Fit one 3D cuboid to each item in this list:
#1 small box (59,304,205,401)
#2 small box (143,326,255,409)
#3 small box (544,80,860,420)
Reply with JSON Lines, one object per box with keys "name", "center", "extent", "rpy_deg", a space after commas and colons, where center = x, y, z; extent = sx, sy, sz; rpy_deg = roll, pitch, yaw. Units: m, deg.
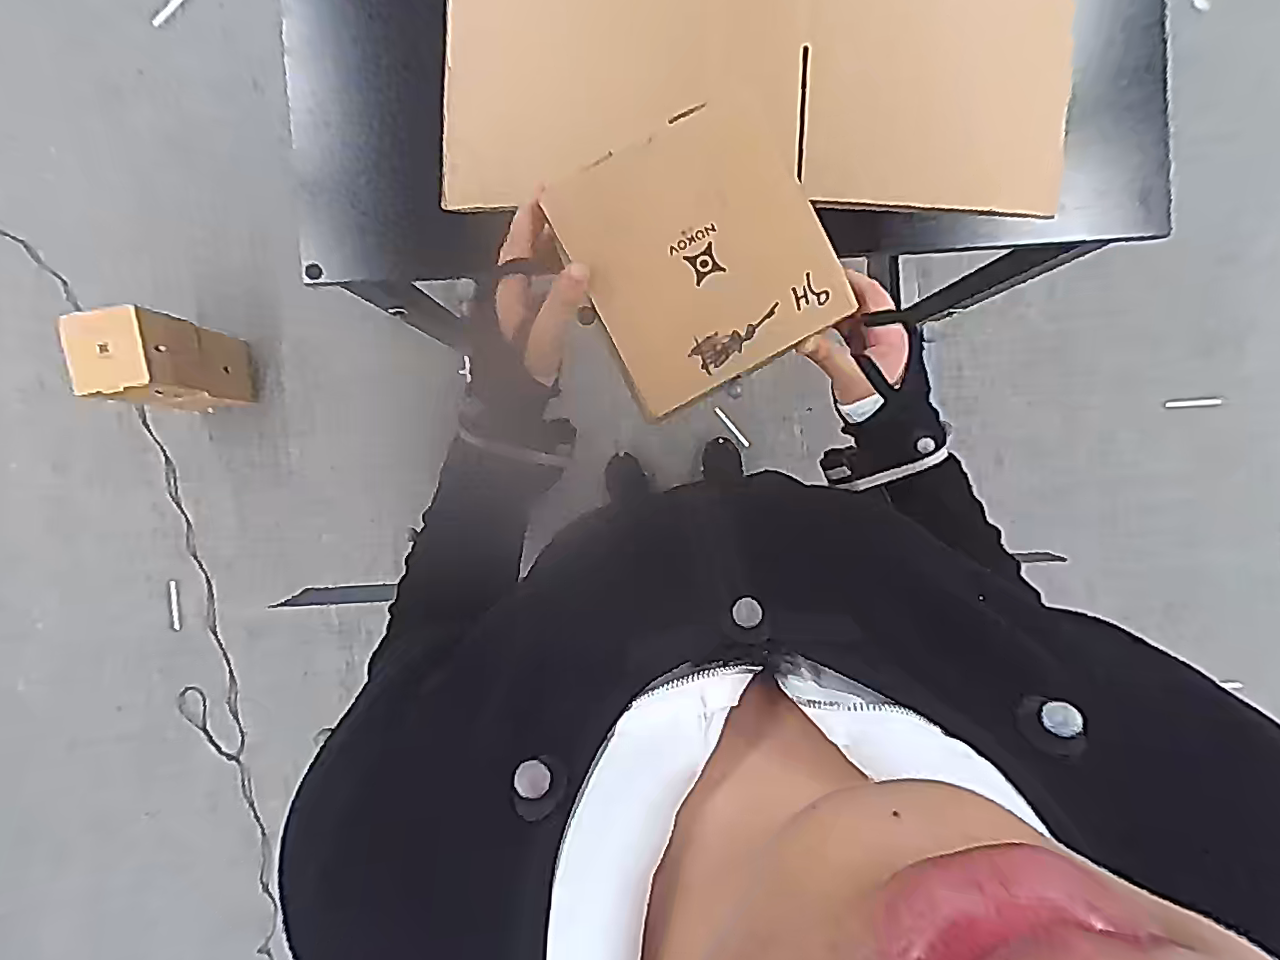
{"name": "small box", "center": [-1.143, -0.281, 1.232], "extent": [0.168, 0.176, 0.179], "rpy_deg": [-10, 92, -1]}
{"name": "small box", "center": [-1.141, -0.283, 1.395], "extent": [0.168, 0.176, 0.179], "rpy_deg": [-7, 94, 0]}
{"name": "small box", "center": [0.042, -0.164, 0.451], "extent": [0.168, 0.176, 0.179], "rpy_deg": [-28, 93, 1]}
